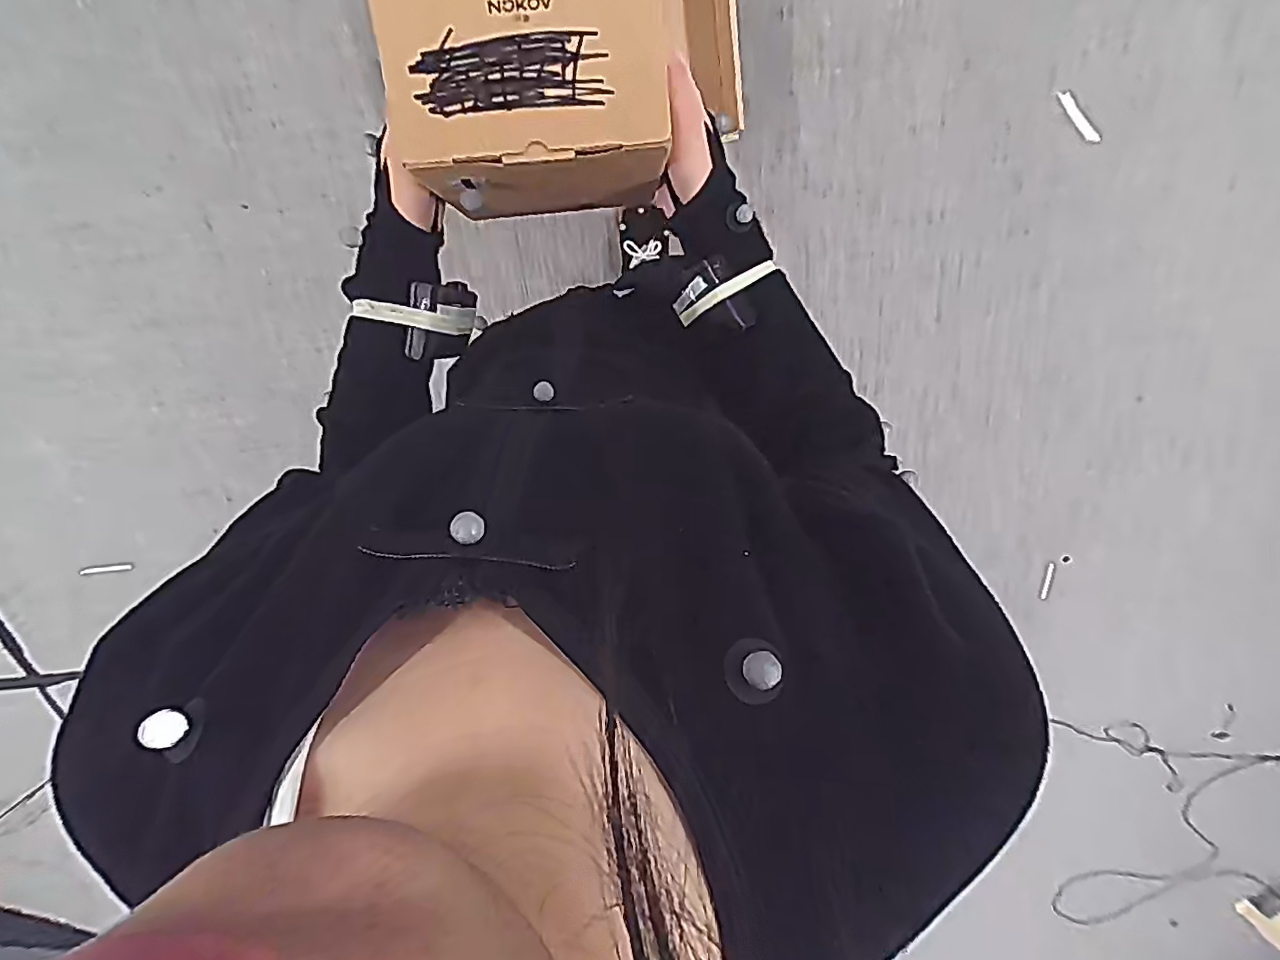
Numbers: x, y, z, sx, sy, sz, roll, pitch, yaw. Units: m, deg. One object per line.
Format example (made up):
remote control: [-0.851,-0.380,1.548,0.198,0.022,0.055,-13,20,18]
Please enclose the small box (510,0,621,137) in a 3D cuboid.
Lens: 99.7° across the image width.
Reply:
small box: [-0.140,-0.810,1.069,0.168,0.176,0.179,-14,115,4]
